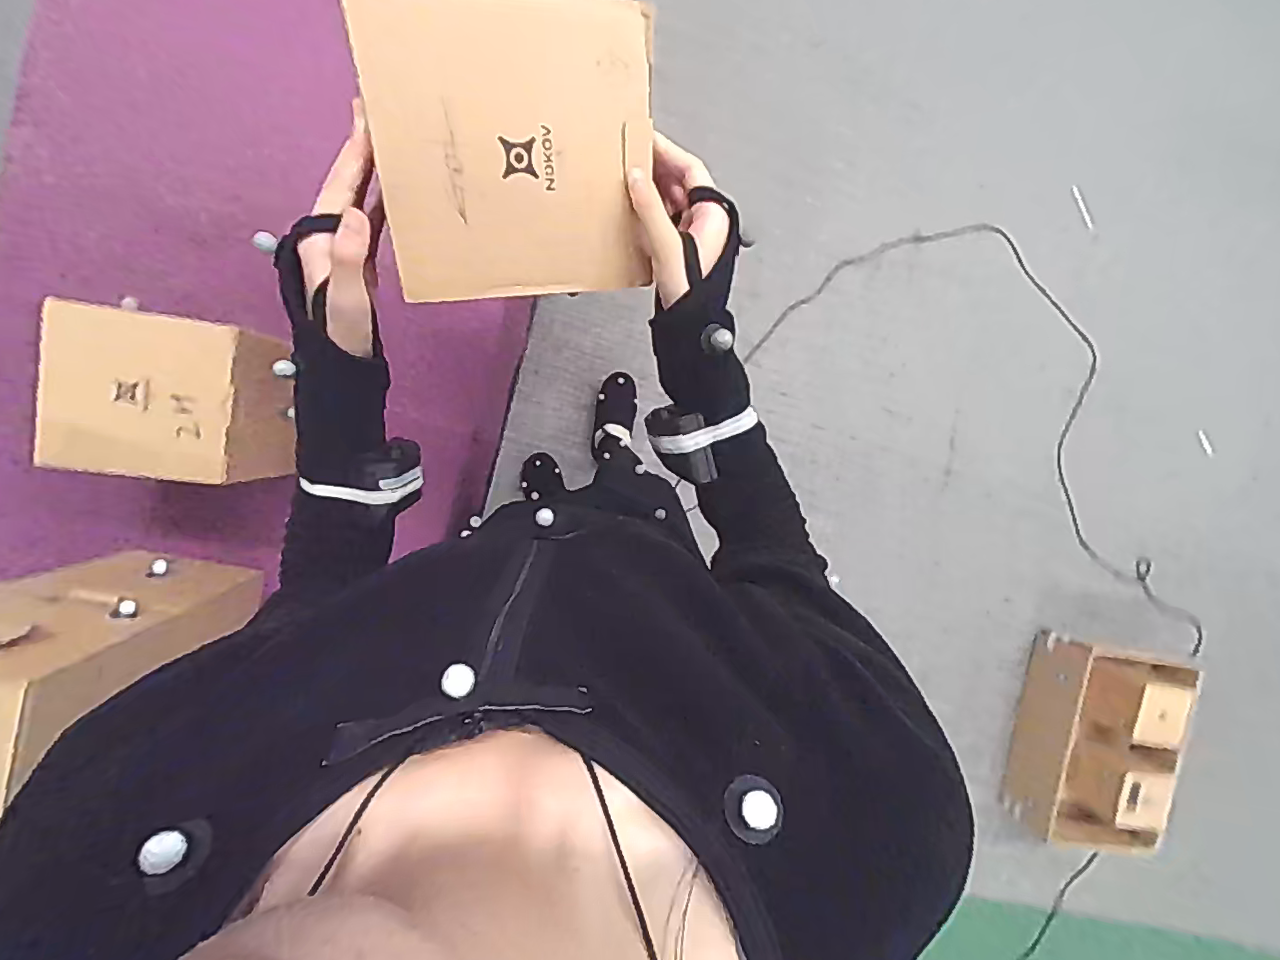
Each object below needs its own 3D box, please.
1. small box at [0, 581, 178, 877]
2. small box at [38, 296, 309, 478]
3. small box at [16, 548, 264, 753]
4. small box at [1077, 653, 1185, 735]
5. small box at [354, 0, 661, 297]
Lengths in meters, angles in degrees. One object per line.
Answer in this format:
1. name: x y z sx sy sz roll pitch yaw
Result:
1. small box: -0.570 0.206 0.489 0.168 0.176 0.179 13 95 -9
2. small box: -0.524 -0.100 0.632 0.179 0.176 0.168 7 95 -9
3. small box: -0.593 0.191 0.651 0.168 0.176 0.179 13 93 -9
4. small box: 1.515 0.658 1.680 0.168 0.176 0.179 10 96 -7
5. small box: -0.098 -0.240 0.406 0.179 0.176 0.168 -9 120 -18
